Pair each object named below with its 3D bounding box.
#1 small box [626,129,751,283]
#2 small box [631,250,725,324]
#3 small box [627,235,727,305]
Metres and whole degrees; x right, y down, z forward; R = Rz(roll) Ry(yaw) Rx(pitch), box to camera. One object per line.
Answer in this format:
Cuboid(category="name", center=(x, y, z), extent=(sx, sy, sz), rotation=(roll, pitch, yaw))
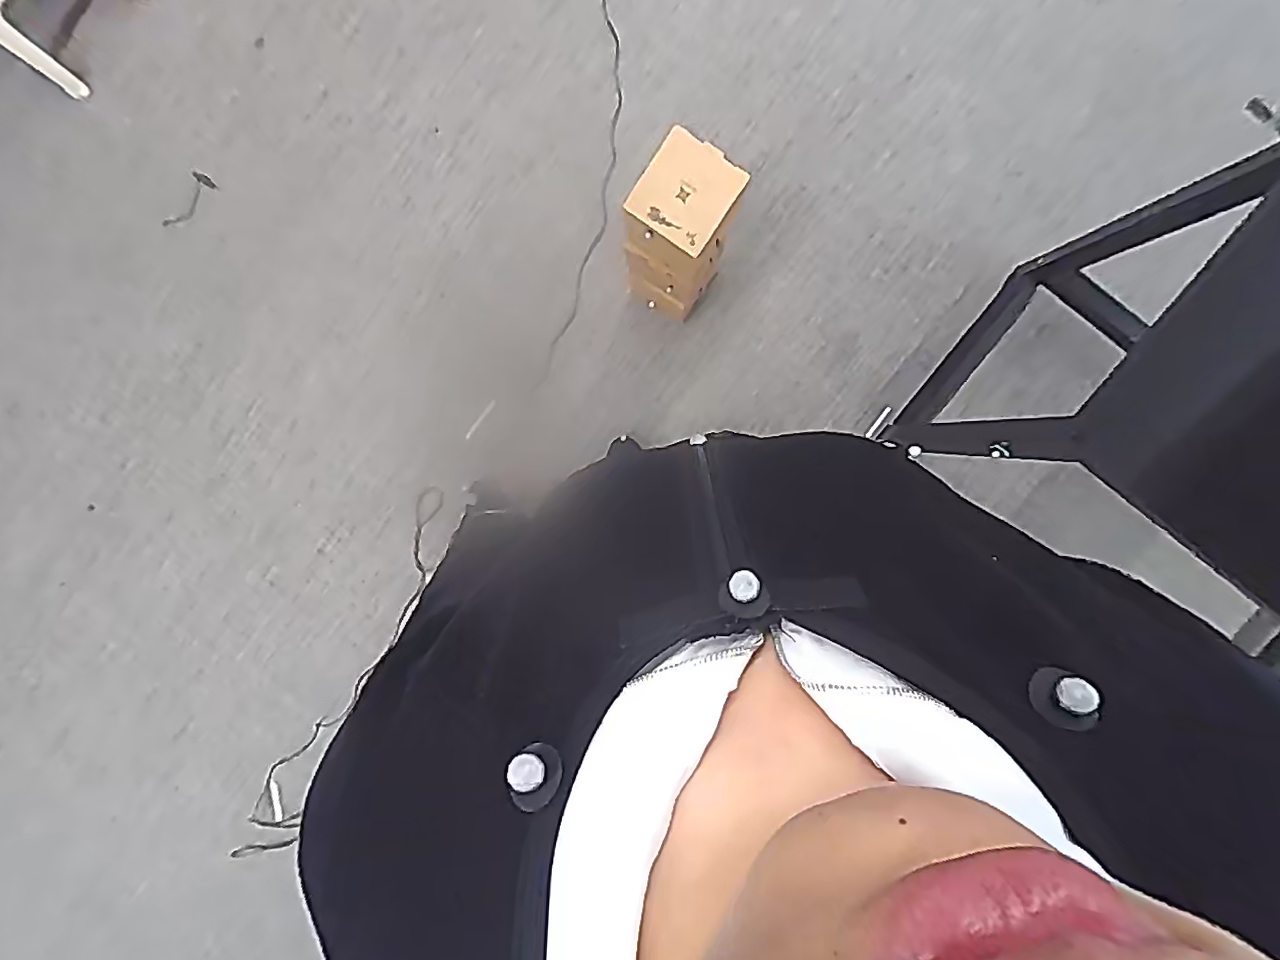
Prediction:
Cuboid(category="small box", center=(0.088, -0.520, 1.054), extent=(0.168, 0.176, 0.179), rotation=(35, 94, 0))
Cuboid(category="small box", center=(0.093, -0.528, 1.381), extent=(0.168, 0.176, 0.179), rotation=(35, 95, 0))
Cuboid(category="small box", center=(0.088, -0.523, 1.219), extent=(0.168, 0.176, 0.179), rotation=(31, 93, -1))
